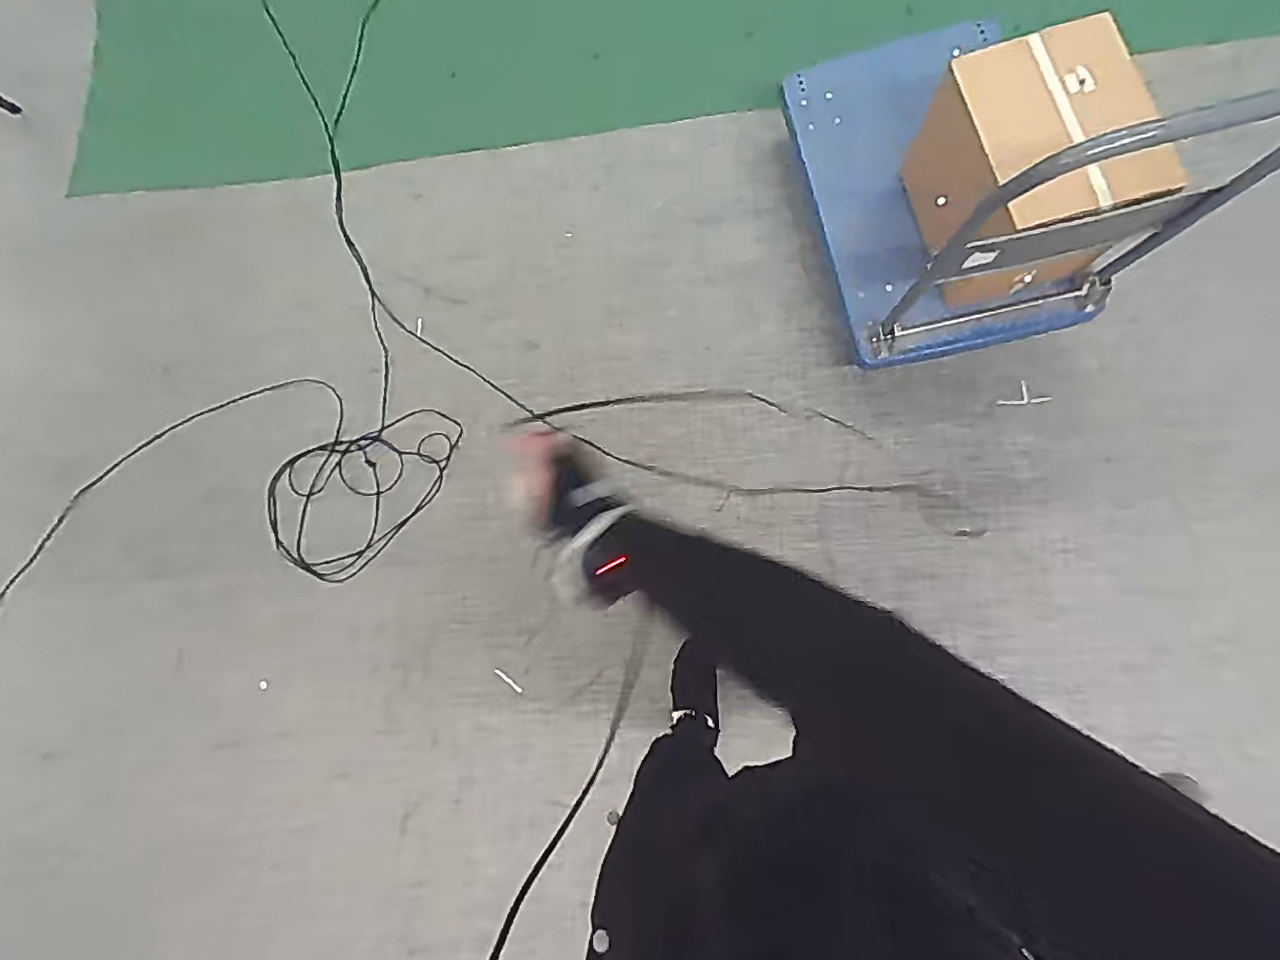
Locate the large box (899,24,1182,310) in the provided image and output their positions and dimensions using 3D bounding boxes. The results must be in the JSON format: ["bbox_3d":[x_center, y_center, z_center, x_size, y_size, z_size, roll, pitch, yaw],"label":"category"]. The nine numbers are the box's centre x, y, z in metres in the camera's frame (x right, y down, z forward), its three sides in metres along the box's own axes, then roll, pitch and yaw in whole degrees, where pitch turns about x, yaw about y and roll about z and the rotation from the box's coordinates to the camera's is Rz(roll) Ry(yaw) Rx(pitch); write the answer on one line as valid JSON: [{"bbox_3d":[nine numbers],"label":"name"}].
[{"bbox_3d":[0.832,-0.659,1.195,0.320,0.320,0.408,-13,78,4],"label":"large box"}]
